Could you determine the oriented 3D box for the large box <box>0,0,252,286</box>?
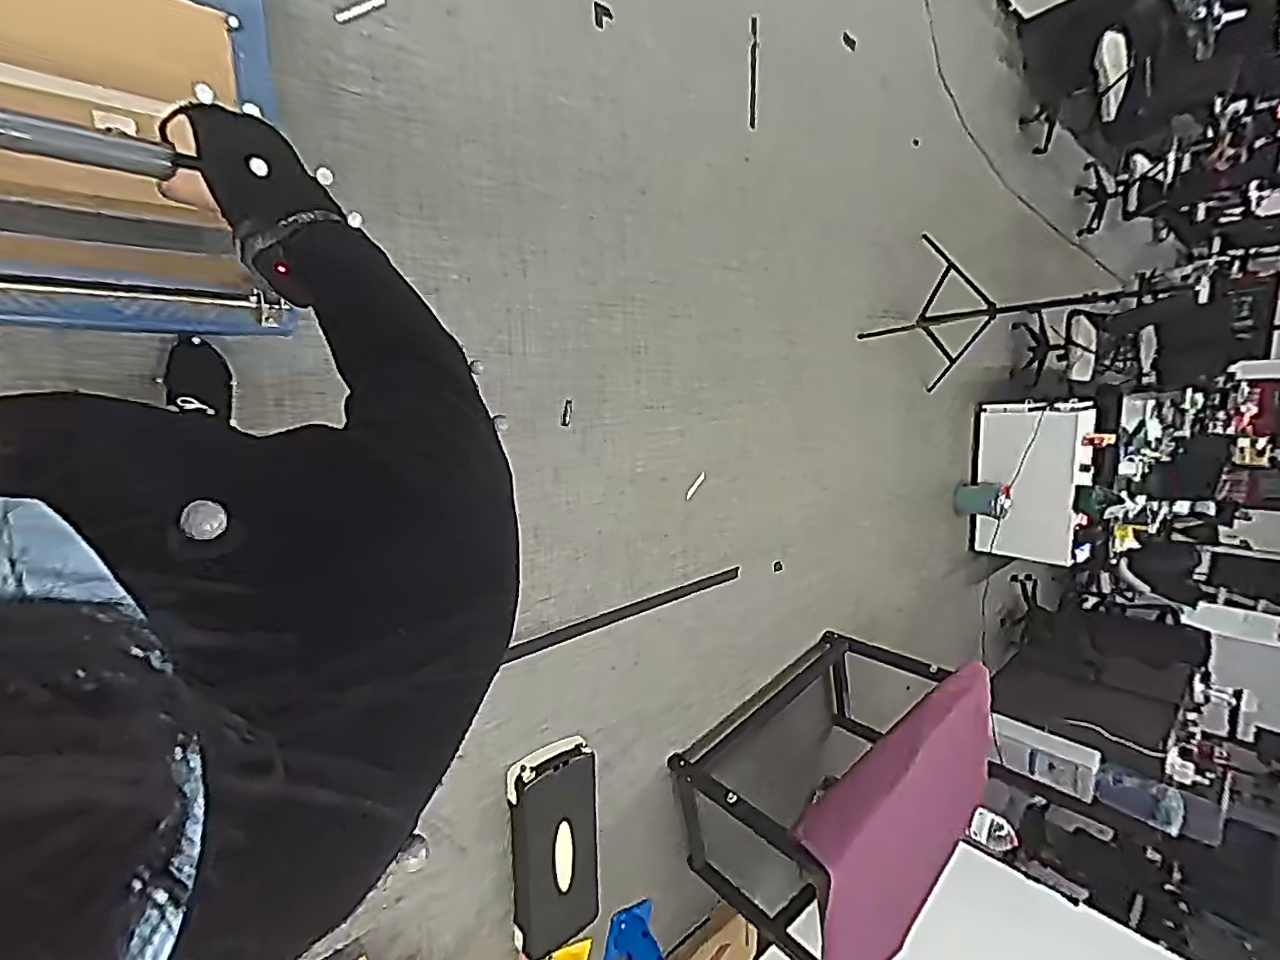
[{"bbox_3d":[-0.827,-0.482,0.766,0.408,0.320,0.320,-7,100,-40],"label":"large box"}]
